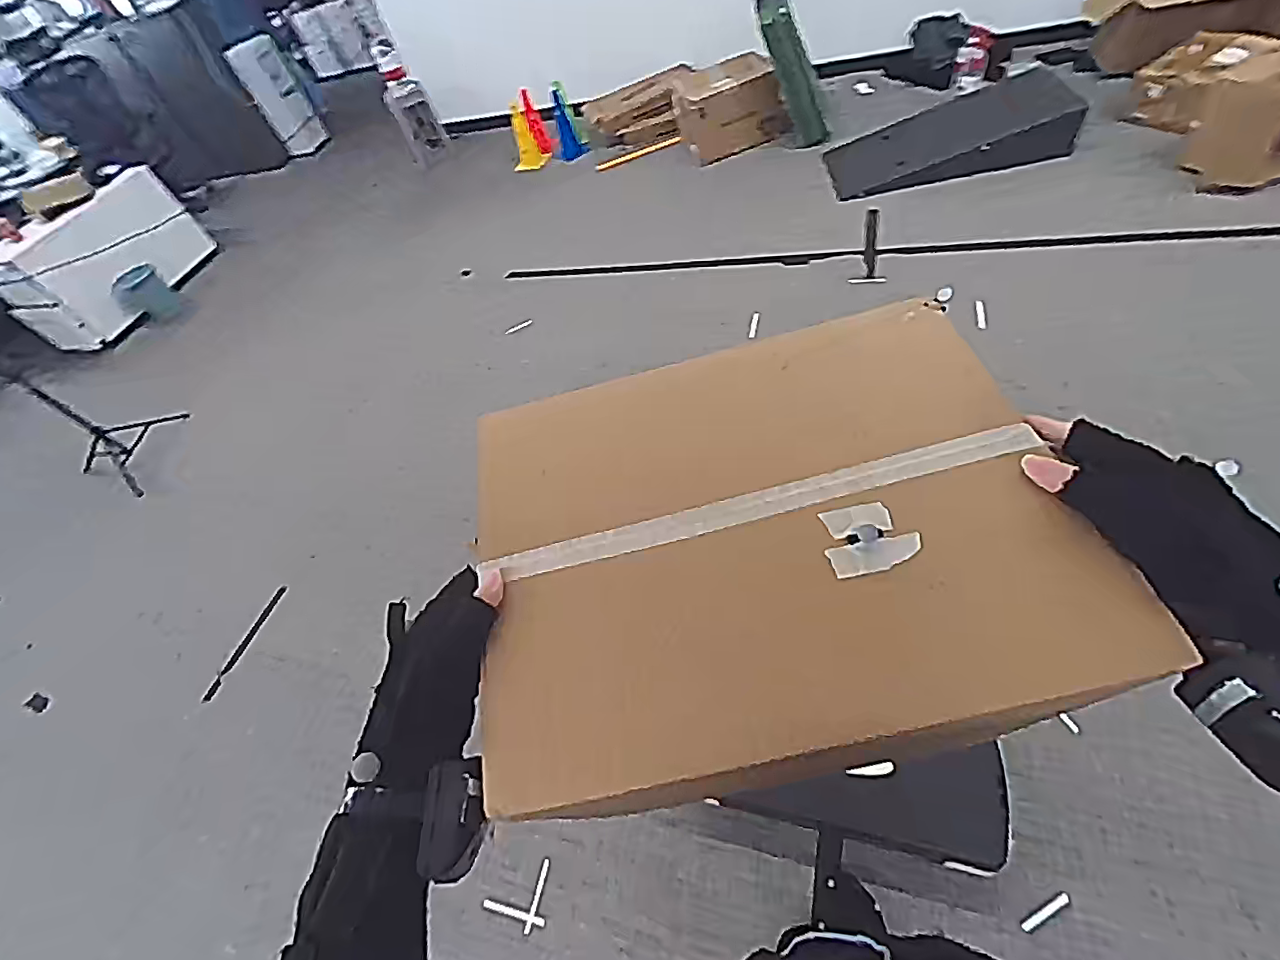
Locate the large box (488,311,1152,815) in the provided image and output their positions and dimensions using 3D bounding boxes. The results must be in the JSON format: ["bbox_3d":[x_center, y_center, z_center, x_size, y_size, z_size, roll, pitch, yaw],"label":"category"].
[{"bbox_3d":[0.106,0.103,0.526,0.408,0.320,0.320,-15,57,3],"label":"large box"}]
